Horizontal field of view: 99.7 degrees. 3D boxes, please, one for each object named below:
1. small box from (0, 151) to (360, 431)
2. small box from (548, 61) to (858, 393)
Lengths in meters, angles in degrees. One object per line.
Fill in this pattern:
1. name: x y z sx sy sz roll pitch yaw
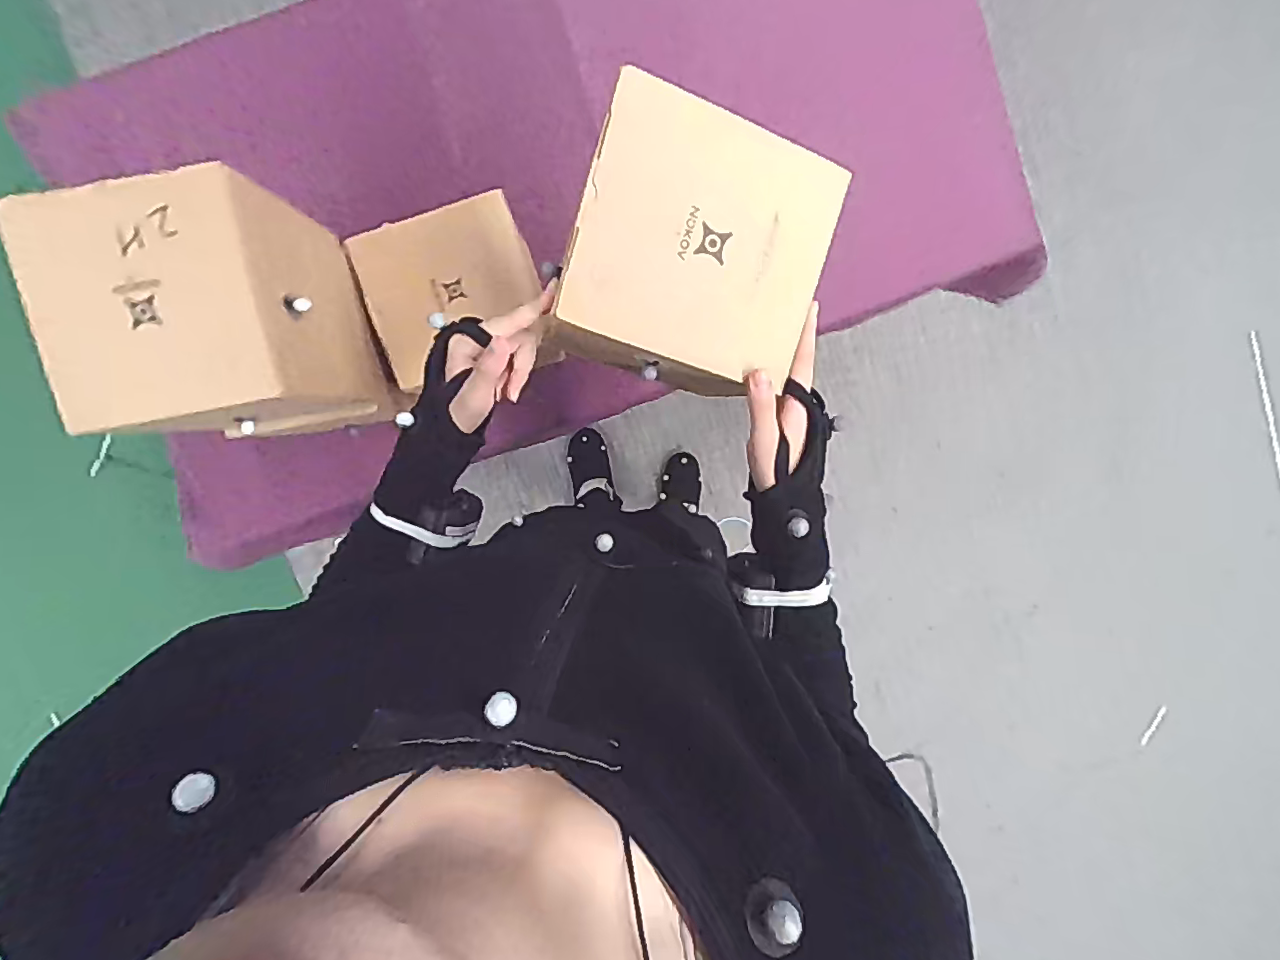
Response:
1. small box: -0.373 -0.145 0.469 0.168 0.176 0.179 -11 97 -2
2. small box: 0.032 -0.173 0.440 0.179 0.176 0.168 17 94 -16
